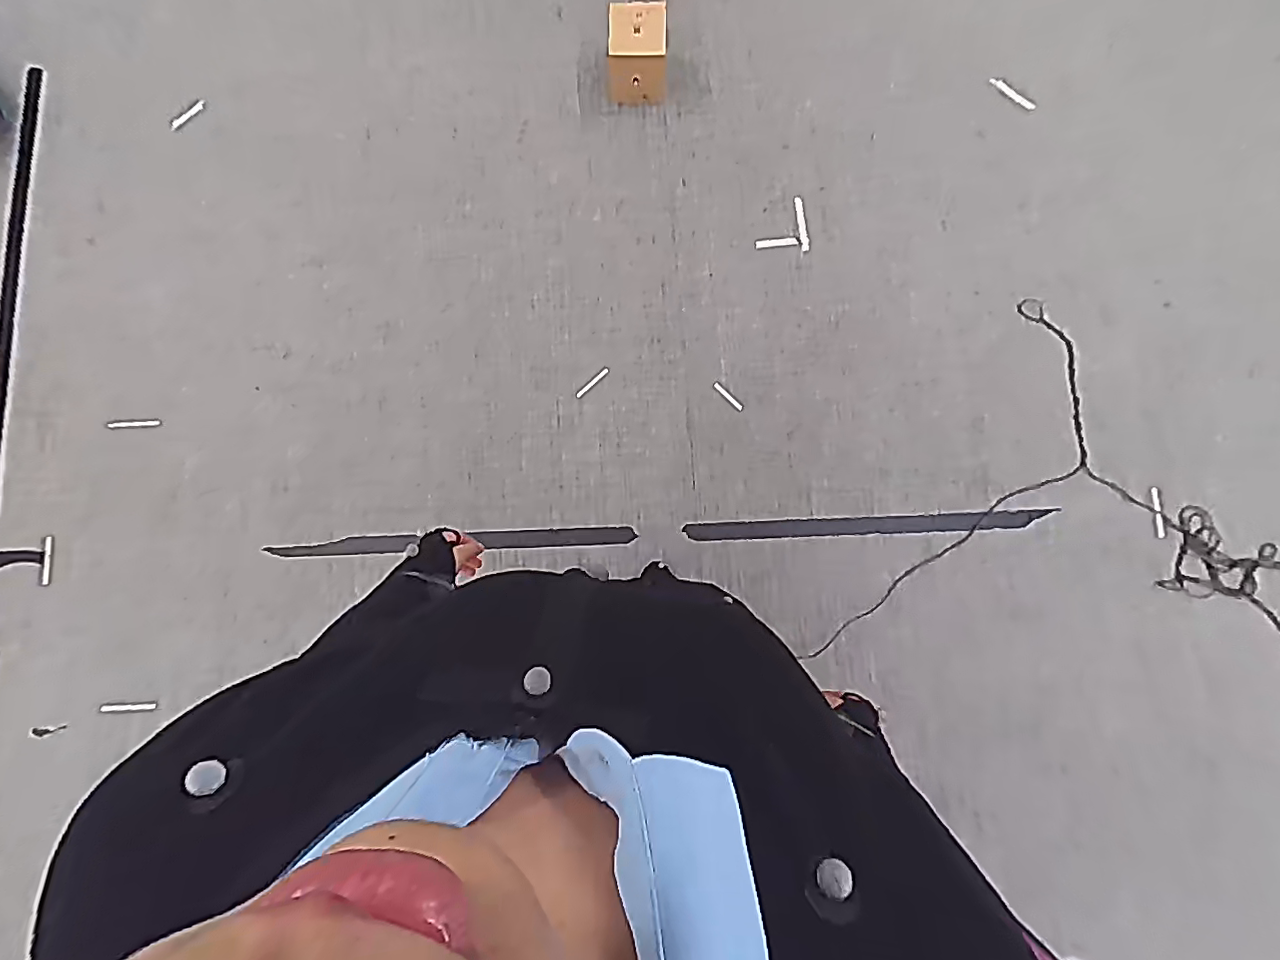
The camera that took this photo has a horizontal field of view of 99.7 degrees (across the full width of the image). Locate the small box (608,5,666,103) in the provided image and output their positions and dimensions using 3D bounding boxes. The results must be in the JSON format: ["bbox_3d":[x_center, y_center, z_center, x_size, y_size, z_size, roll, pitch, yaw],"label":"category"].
[{"bbox_3d":[-0.007,-1.277,1.631,0.168,0.176,0.179,1,82,1],"label":"small box"}]
